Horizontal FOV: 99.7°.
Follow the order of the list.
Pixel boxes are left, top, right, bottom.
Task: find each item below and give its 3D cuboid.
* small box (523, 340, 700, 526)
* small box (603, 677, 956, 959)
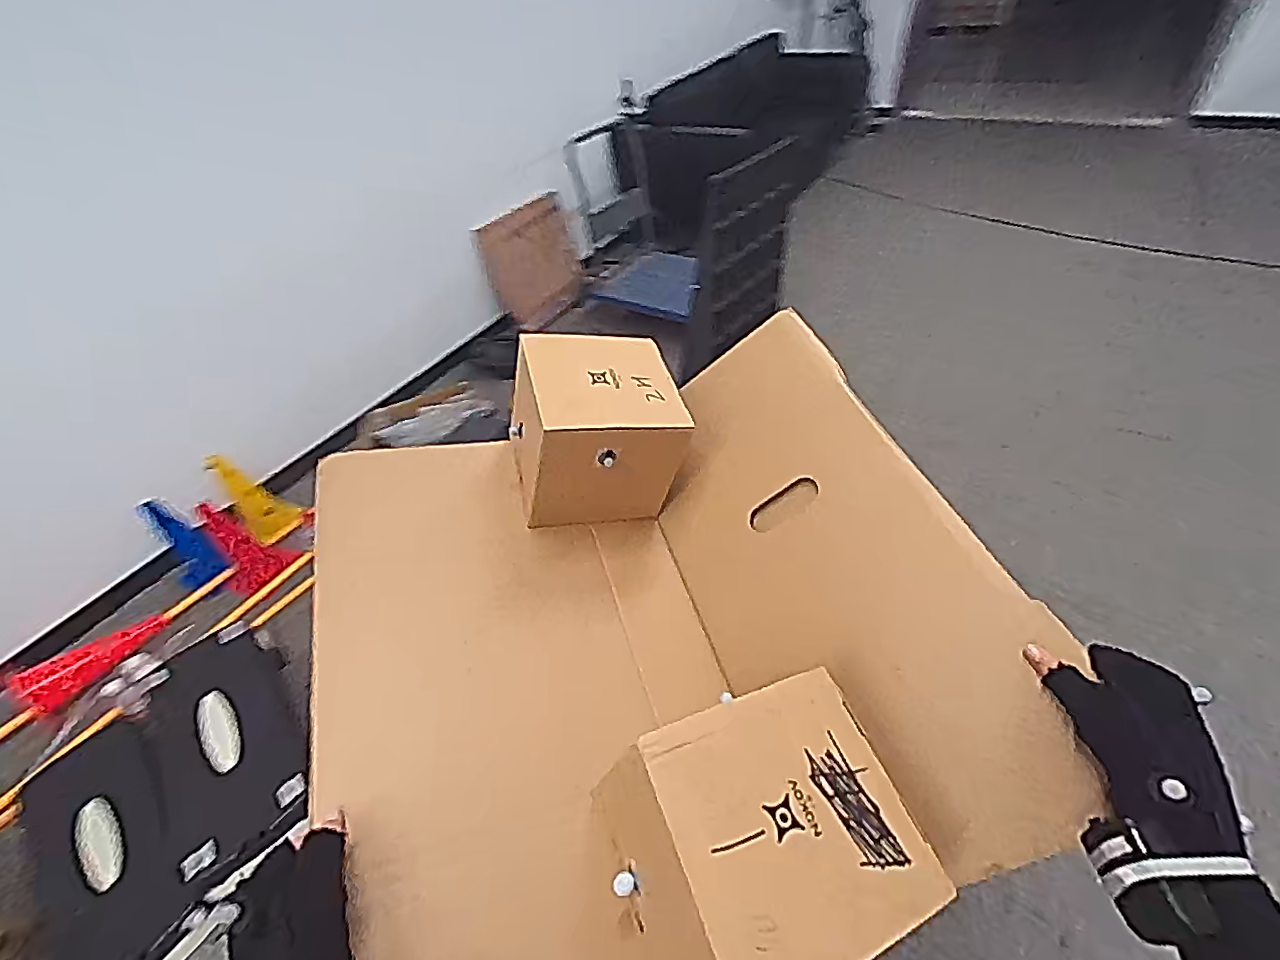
[{"bbox_3d":[-0.050,-0.055,0.681,0.179,0.176,0.168,-2,50,-20],"label":"small box"},{"bbox_3d":[0.087,0.284,0.427,0.179,0.176,0.168,-9,54,-24],"label":"small box"}]
